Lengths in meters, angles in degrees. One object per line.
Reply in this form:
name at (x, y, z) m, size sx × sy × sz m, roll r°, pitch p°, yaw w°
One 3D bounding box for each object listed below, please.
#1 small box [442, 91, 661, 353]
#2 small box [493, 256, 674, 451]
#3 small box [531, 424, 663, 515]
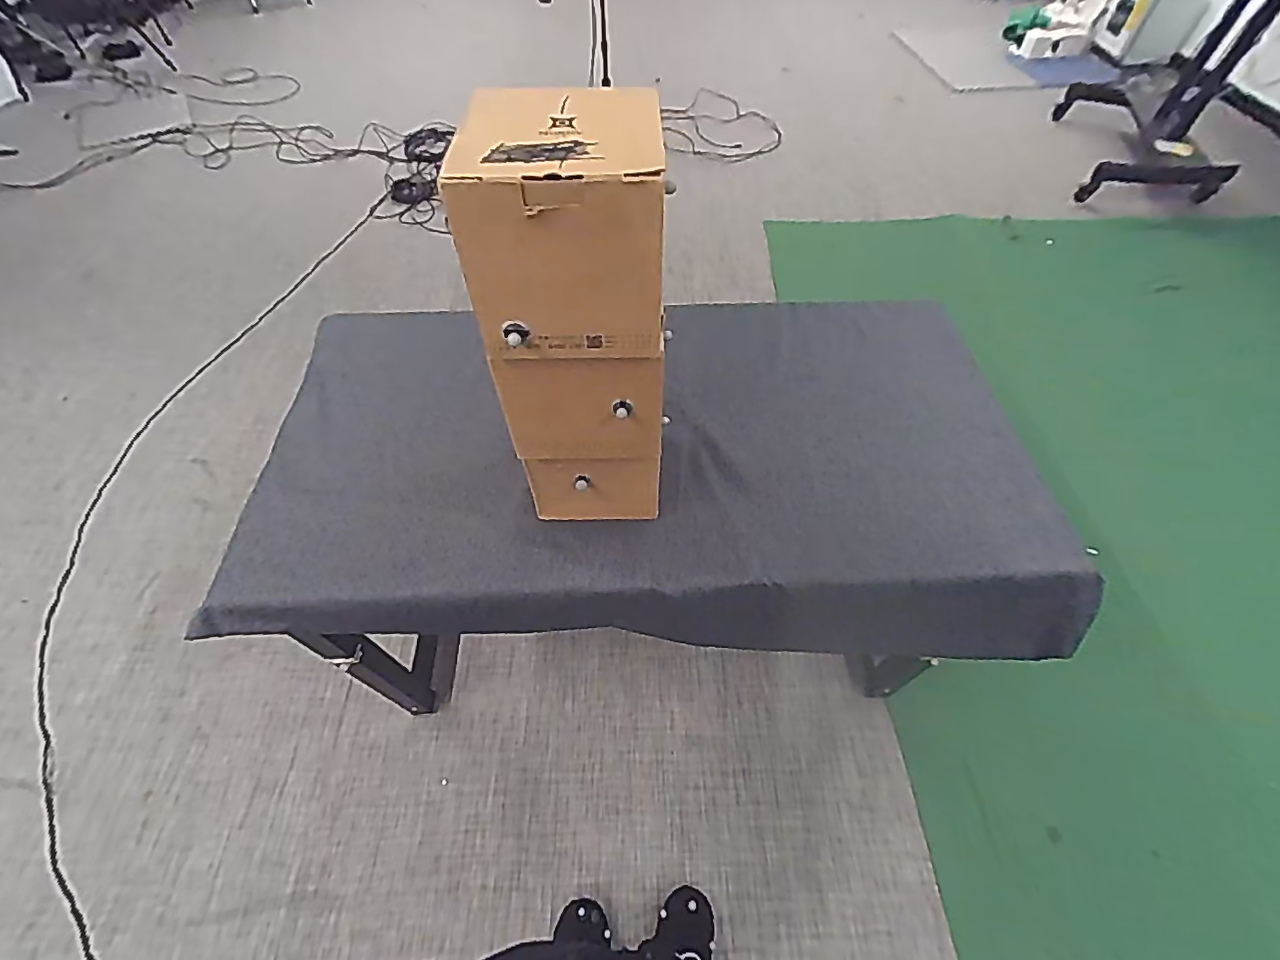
small box at (-0.064, -0.234, 0.506) m, size 0.168 × 0.176 × 0.179 m, roll -1°, pitch 53°, yaw -1°
small box at (-0.060, -0.148, 0.627) m, size 0.179 × 0.176 × 0.168 m, roll -3°, pitch 55°, yaw -3°
small box at (-0.061, -0.061, 0.786) m, size 0.179 × 0.176 × 0.168 m, roll -2°, pitch 54°, yaw -2°
